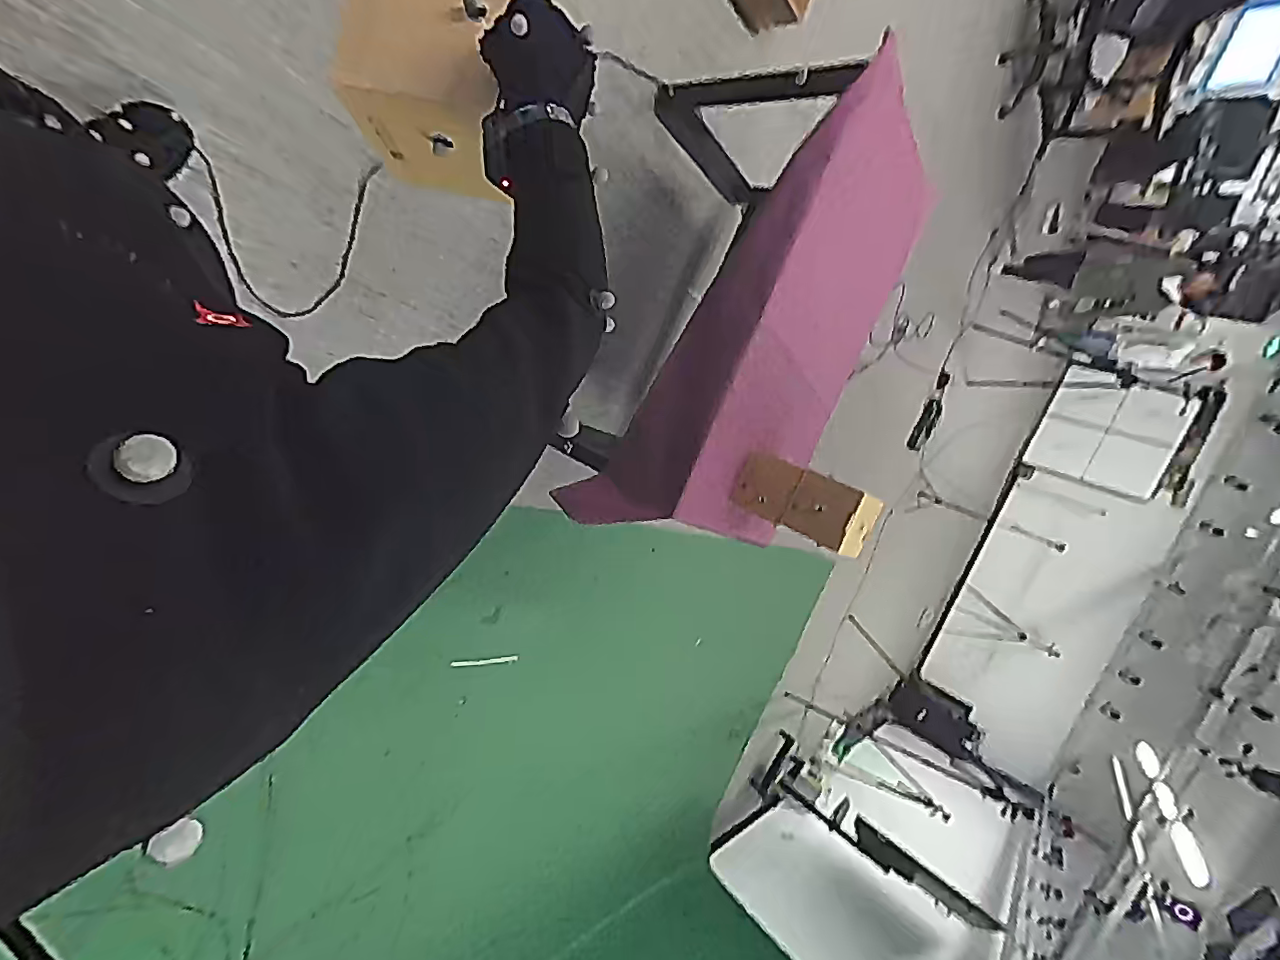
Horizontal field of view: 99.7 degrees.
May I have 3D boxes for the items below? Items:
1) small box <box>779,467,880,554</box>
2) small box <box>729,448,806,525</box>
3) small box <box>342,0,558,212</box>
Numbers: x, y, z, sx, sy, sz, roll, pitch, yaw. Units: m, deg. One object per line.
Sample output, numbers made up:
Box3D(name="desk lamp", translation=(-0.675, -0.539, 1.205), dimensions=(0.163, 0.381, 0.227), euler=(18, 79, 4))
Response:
Box3D(name="small box", translation=(0.493, 0.077, 1.417), dimensions=(0.179, 0.176, 0.168), euler=(17, 99, -50))
Box3D(name="small box", translation=(0.378, 0.022, 1.520), dimensions=(0.179, 0.176, 0.168), euler=(17, 99, -52))
Box3D(name="small box", translation=(-0.198, -0.435, 0.599), dimensions=(0.168, 0.176, 0.179), euler=(106, -7, -86))
